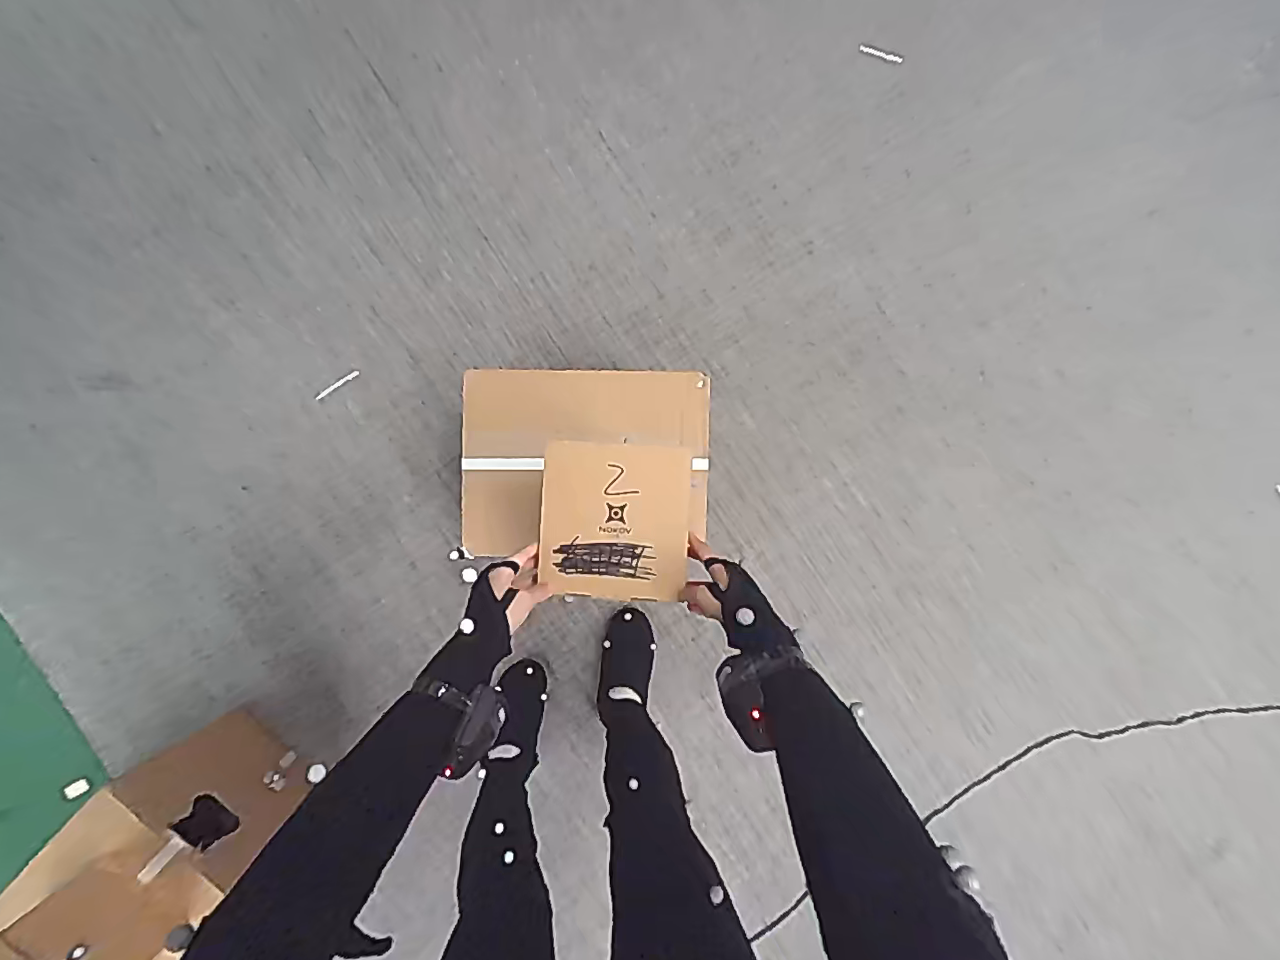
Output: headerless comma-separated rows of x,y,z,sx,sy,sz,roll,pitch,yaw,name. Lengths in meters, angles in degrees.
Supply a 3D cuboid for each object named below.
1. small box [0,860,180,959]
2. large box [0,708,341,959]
-0.841,0.711,0.784,0.179,0.176,0.168,43,88,-1,small box
-0.884,0.735,1.027,0.320,0.320,0.408,42,90,1,large box
